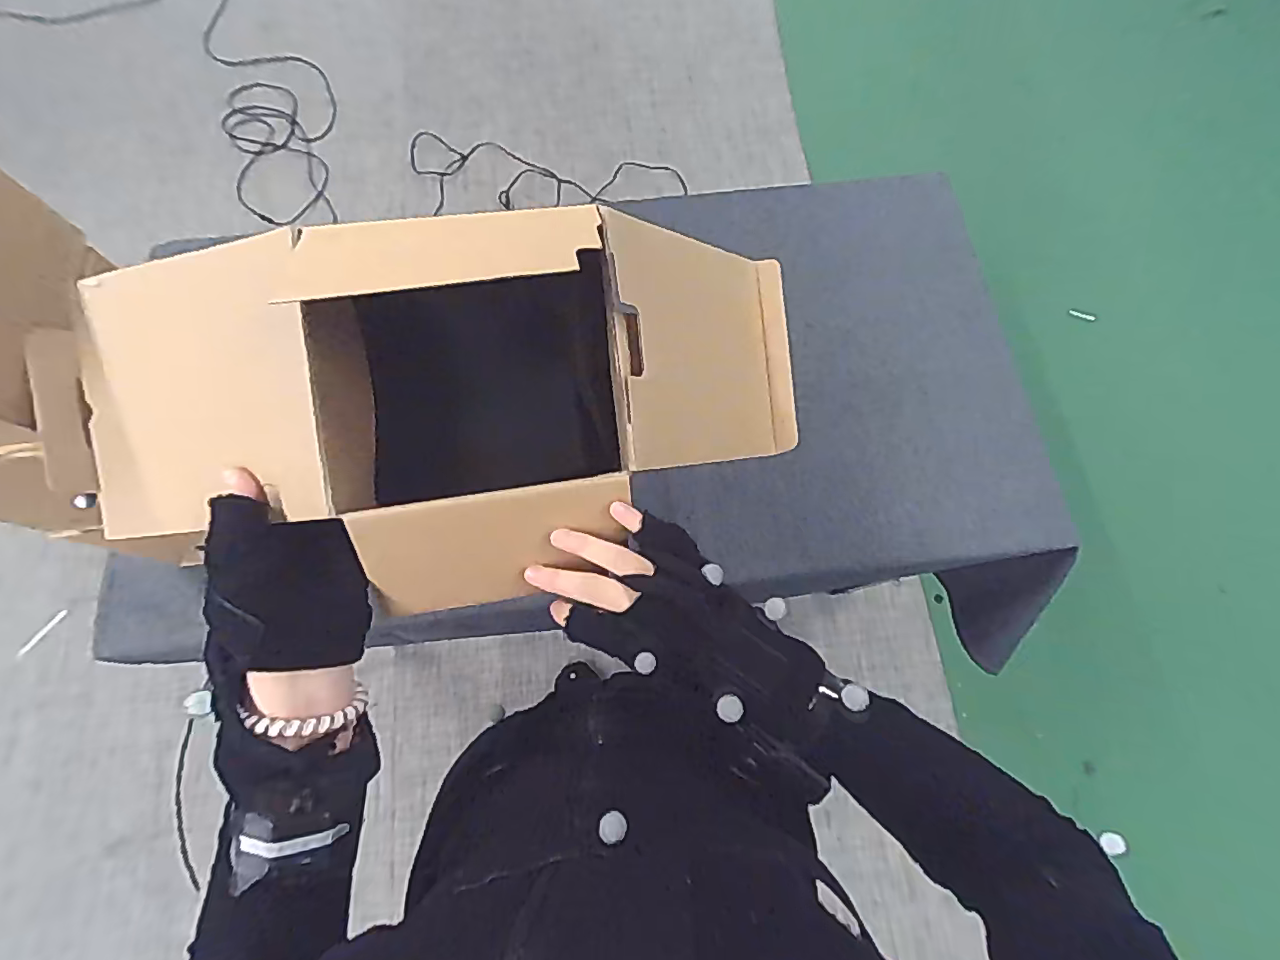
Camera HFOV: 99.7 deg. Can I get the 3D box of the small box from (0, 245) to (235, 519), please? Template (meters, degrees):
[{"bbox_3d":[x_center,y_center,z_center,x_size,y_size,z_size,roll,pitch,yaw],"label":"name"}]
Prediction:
[{"bbox_3d":[-0.495,-0.069,0.470,0.168,0.176,0.179,-7,72,-4],"label":"small box"}]

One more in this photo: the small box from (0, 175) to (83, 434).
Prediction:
[{"bbox_3d":[-0.494,-0.126,0.316,0.168,0.176,0.179,-8,72,-5],"label":"small box"}]

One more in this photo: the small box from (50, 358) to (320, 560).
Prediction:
[{"bbox_3d":[-0.498,-0.016,0.624,0.168,0.176,0.179,-8,73,-3],"label":"small box"}]
